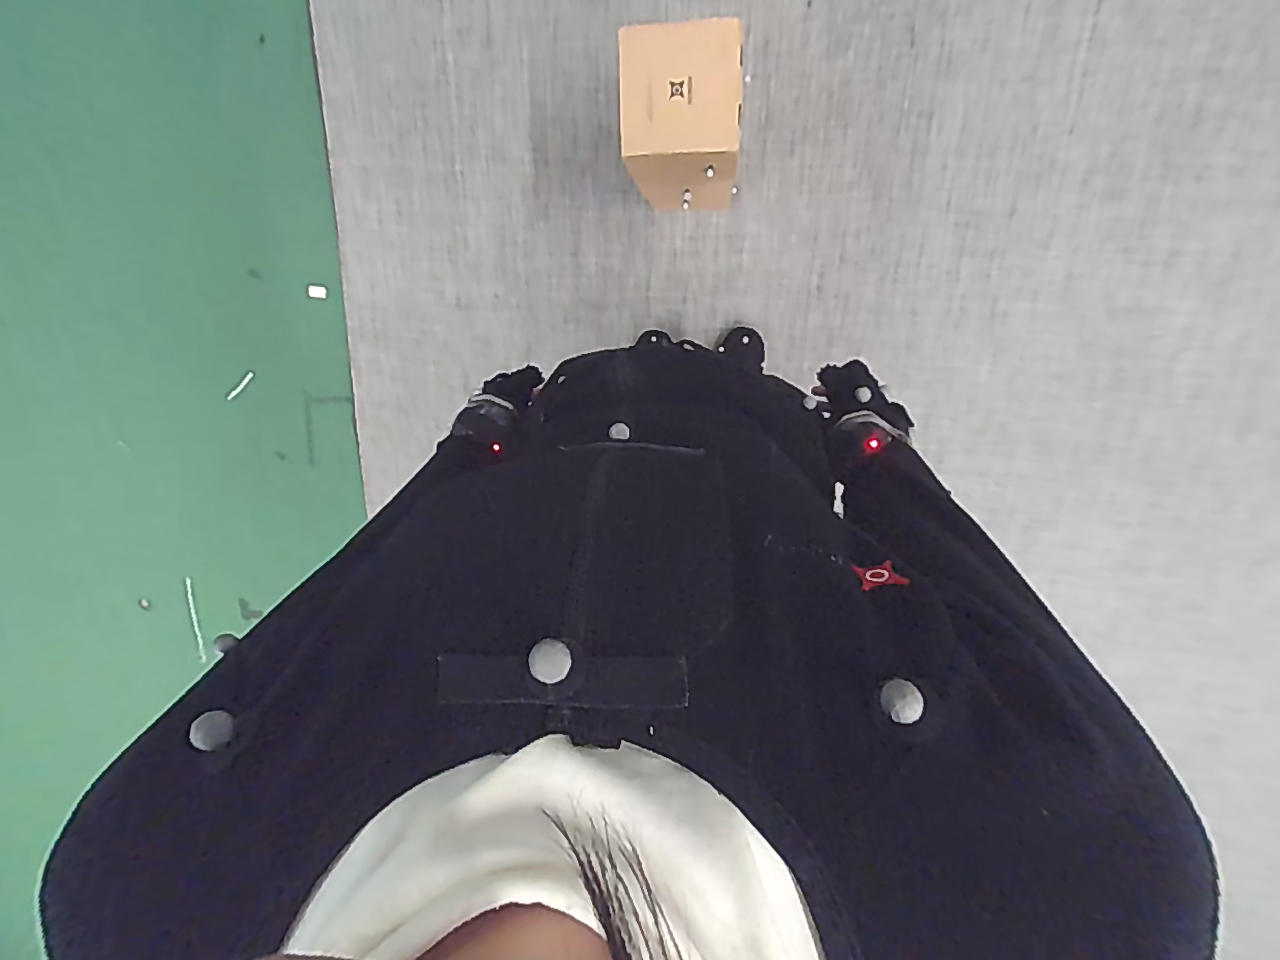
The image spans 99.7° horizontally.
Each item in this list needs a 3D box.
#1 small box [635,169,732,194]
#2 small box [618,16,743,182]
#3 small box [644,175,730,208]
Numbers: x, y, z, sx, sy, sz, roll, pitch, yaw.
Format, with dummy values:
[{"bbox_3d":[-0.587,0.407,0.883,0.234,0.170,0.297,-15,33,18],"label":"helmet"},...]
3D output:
[{"bbox_3d":[0.082,-0.640,1.000,0.179,0.176,0.168,1,106,7],"label":"small box"},{"bbox_3d":[0.066,-0.581,0.848,0.179,0.176,0.168,1,105,9],"label":"small box"},{"bbox_3d":[0.106,-0.689,1.154,0.179,0.176,0.168,3,106,8],"label":"small box"}]
